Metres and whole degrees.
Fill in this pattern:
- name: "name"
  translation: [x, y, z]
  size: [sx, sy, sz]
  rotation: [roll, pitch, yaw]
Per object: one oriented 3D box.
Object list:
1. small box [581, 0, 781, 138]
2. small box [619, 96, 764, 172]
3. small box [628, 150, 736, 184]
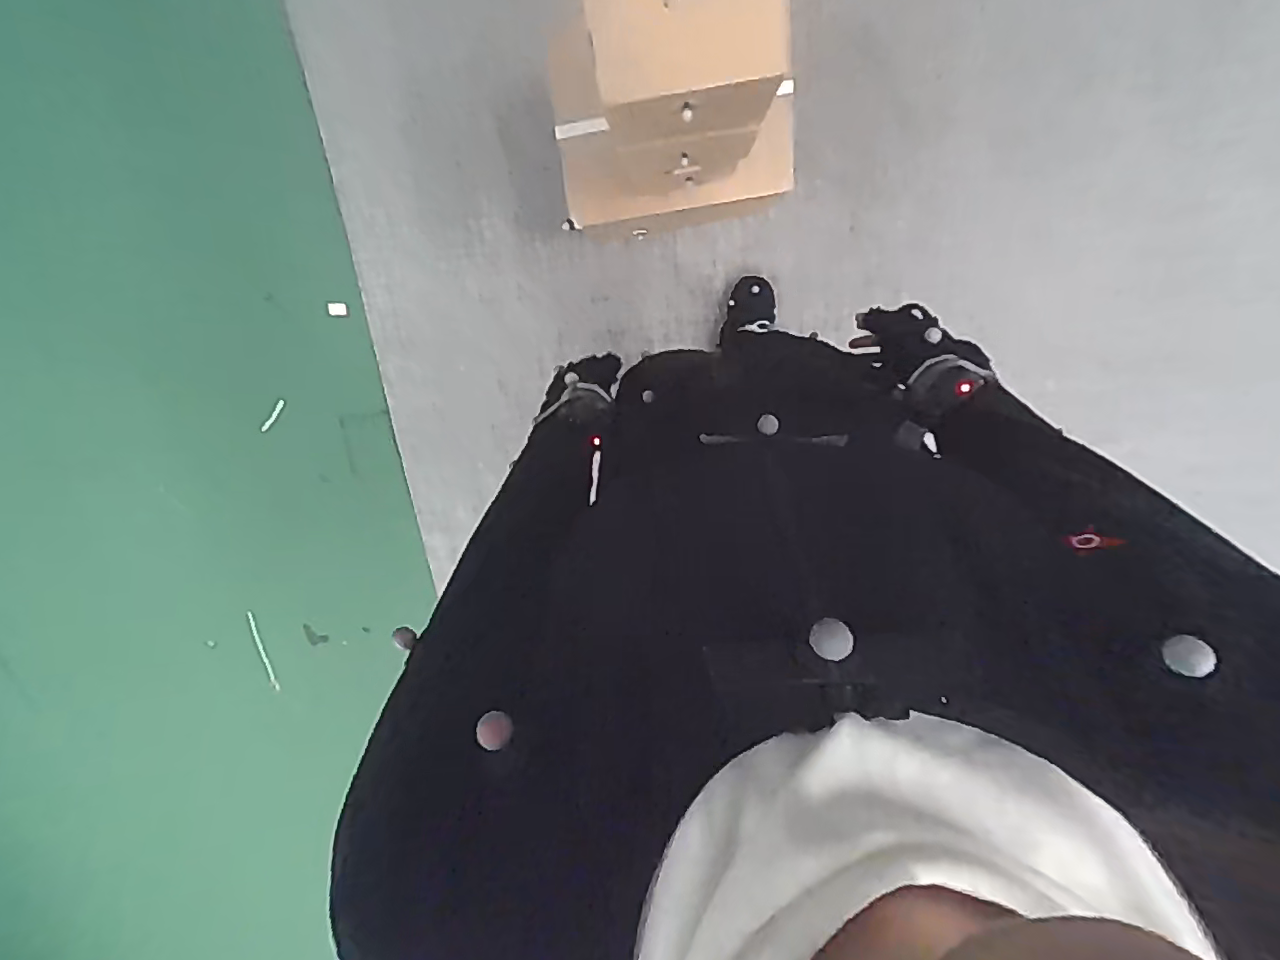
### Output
- name: "small box"
  translation: [0.039, -0.465, 0.543]
  size: [0.179, 0.176, 0.168]
  rotation: [-5, 111, 7]
- name: "small box"
  translation: [0.054, -0.515, 0.696]
  size: [0.179, 0.176, 0.168]
  rotation: [-8, 110, 8]
- name: "small box"
  translation: [0.059, -0.578, 0.848]
  size: [0.168, 0.176, 0.179]
  rotation: [-7, 110, 8]
